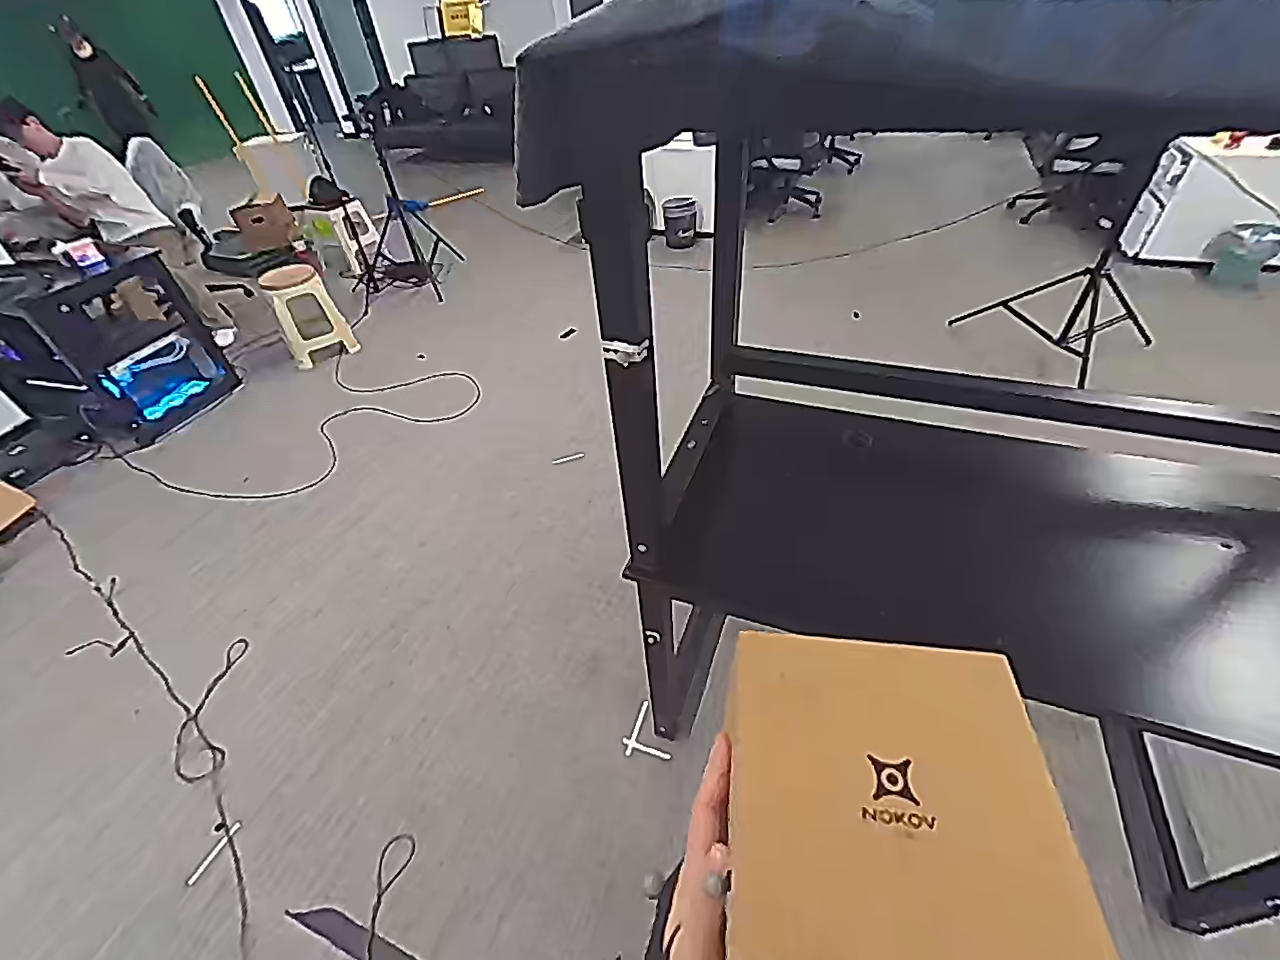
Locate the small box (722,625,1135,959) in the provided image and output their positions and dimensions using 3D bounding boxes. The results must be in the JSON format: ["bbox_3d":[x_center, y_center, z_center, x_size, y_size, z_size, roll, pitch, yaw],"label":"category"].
[{"bbox_3d":[0.139,0.216,0.335,0.168,0.176,0.179,3,44,8],"label":"small box"}]
